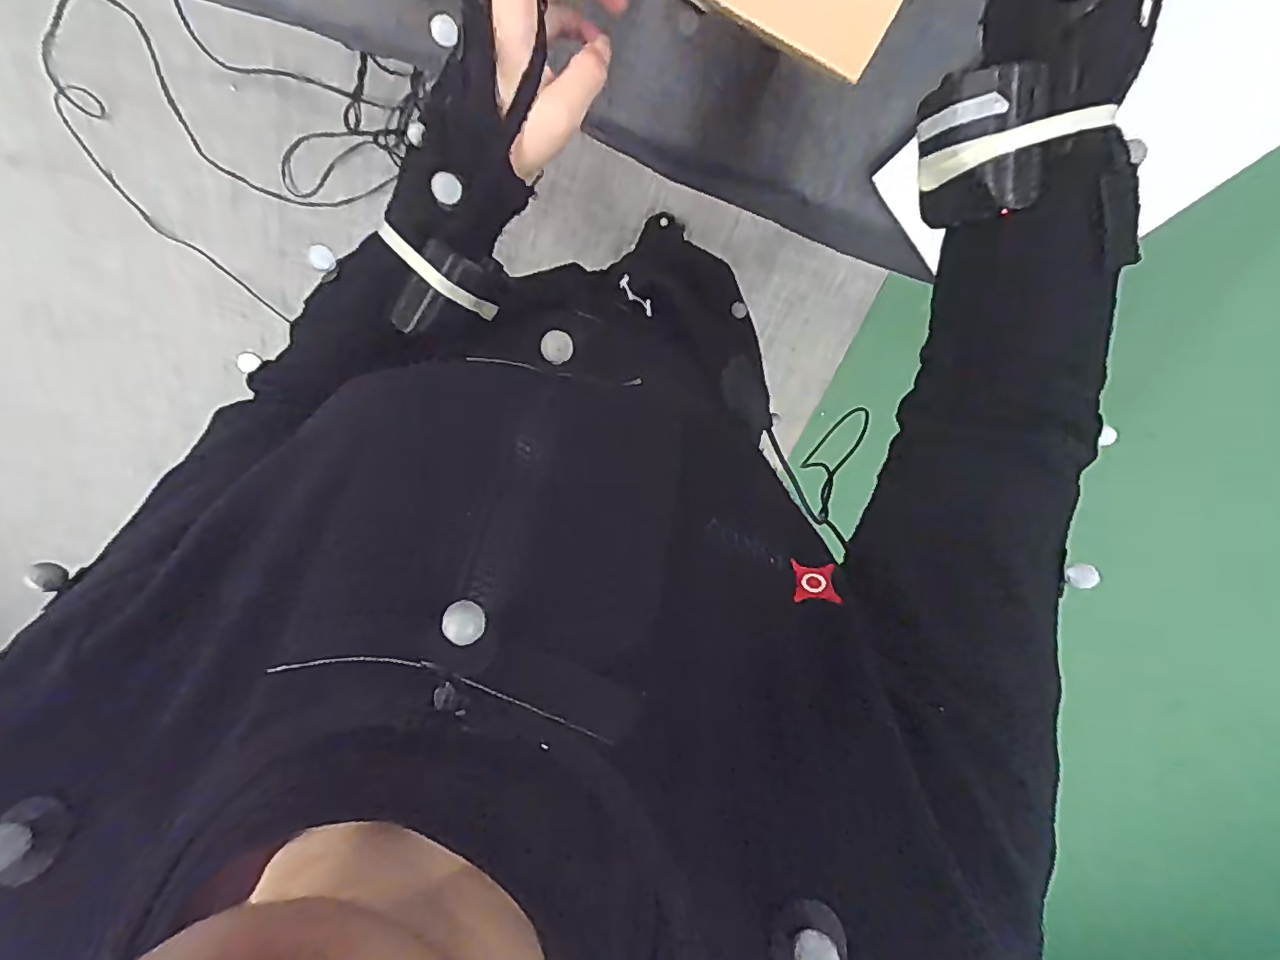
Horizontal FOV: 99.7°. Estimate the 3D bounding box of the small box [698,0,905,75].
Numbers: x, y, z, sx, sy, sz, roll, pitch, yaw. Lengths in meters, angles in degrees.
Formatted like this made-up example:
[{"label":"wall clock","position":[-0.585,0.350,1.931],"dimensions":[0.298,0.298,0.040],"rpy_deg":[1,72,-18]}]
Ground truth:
[{"label":"small box","position":[0.082,-0.352,0.279],"dimensions":[0.168,0.176,0.179],"rpy_deg":[20,129,-11]}]
